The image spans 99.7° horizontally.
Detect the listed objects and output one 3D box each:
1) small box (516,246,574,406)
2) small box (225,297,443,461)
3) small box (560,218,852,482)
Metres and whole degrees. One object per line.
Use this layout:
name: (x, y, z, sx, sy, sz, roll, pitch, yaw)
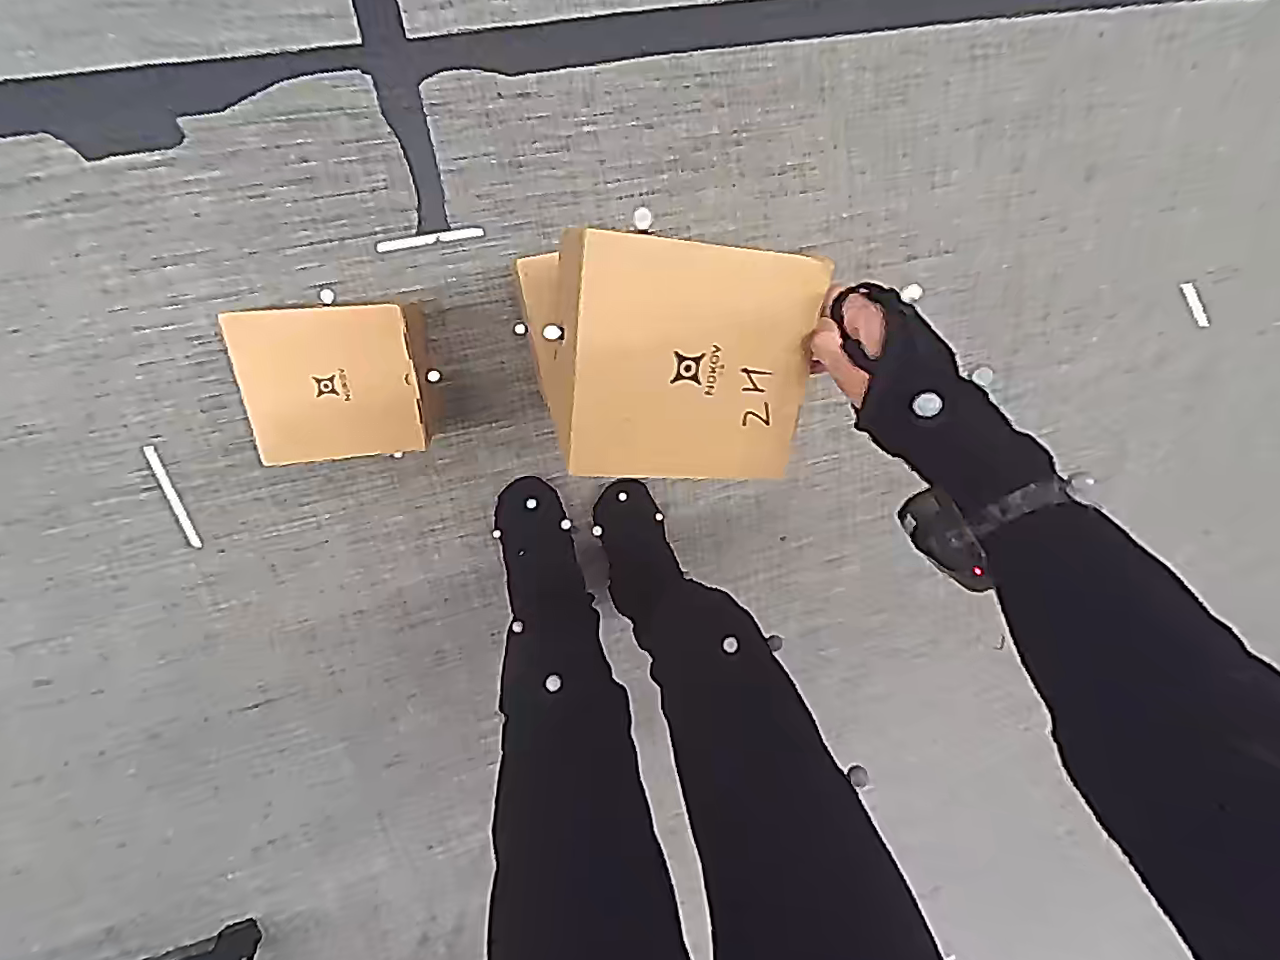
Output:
small box: (-0.061, -0.212, 0.708, 0.168, 0.176, 0.179, -14, 112, -11)
small box: (-0.348, -0.132, 0.657, 0.179, 0.176, 0.168, -8, 111, -13)
small box: (0.031, -0.108, 0.440, 0.179, 0.176, 0.168, 1, 114, -15)
